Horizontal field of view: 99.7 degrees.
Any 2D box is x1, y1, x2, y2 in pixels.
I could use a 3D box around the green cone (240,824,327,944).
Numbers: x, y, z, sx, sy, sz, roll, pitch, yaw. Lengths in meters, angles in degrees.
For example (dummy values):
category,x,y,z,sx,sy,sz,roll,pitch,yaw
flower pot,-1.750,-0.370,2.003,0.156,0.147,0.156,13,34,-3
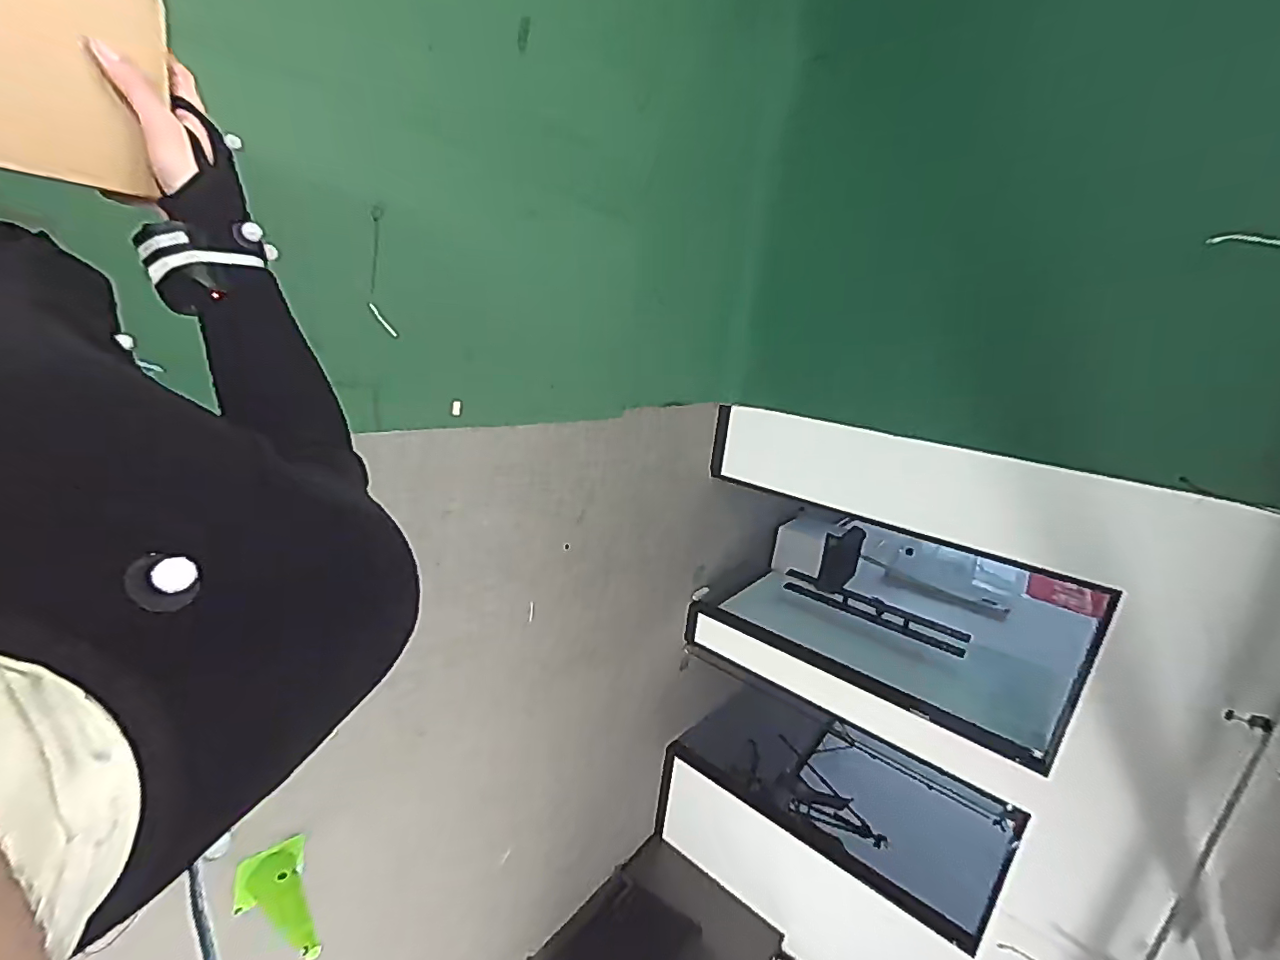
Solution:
category,x,y,z,sx,sy,sz,roll,pitch,yaw
green cone,-1.098,1.334,1.729,0.200,0.368,0.202,-5,108,-53
